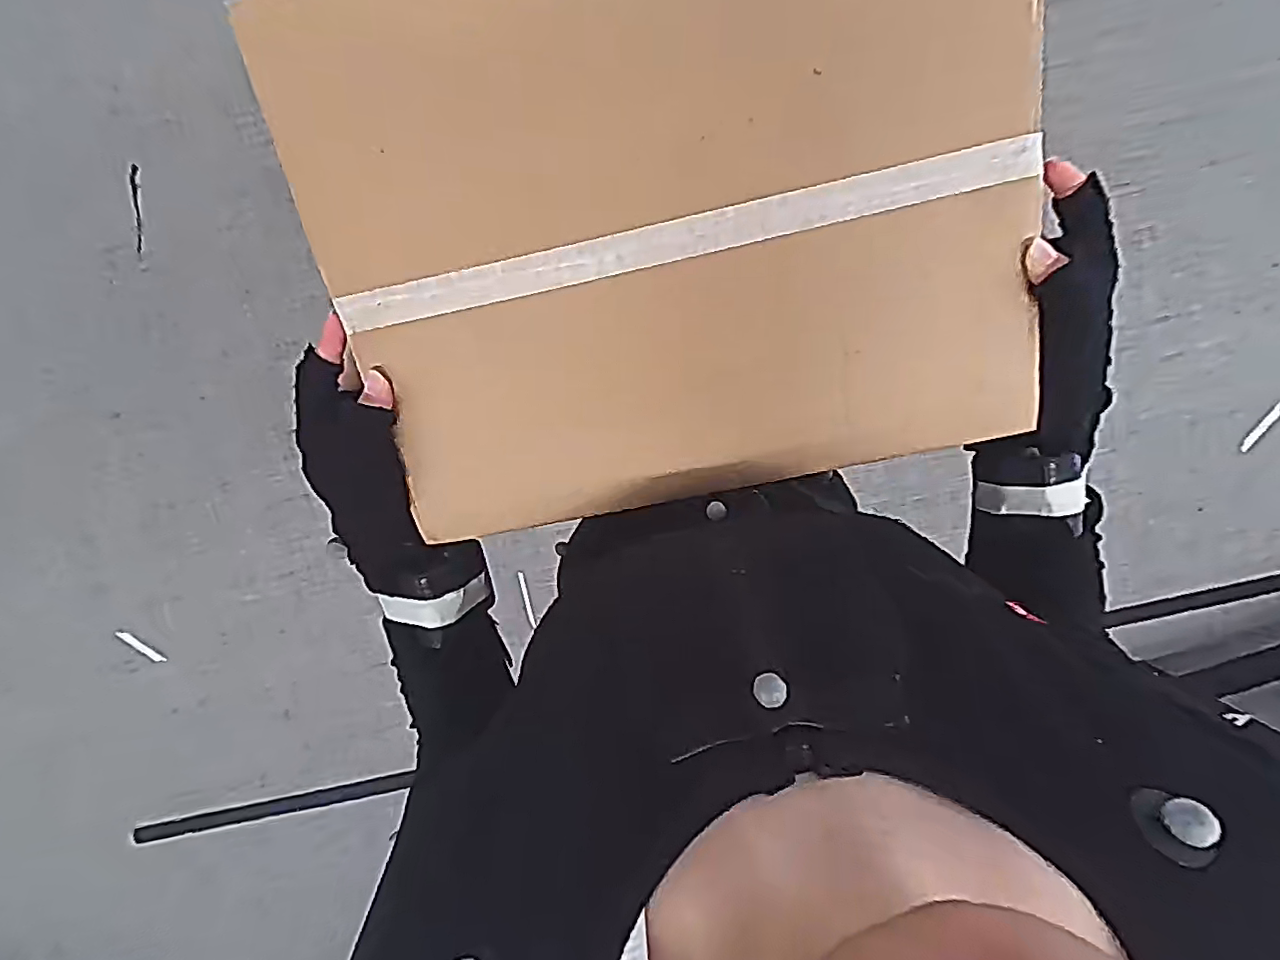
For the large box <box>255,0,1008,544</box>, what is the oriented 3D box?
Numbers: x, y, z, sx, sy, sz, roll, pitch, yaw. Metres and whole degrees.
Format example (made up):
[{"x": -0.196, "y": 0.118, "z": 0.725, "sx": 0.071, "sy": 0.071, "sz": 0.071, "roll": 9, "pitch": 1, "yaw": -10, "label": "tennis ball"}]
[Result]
[{"x": 0.017, "y": -0.183, "z": 0.463, "sx": 0.408, "sy": 0.320, "sz": 0.320, "roll": -11, "pitch": 107, "yaw": 4, "label": "large box"}]
